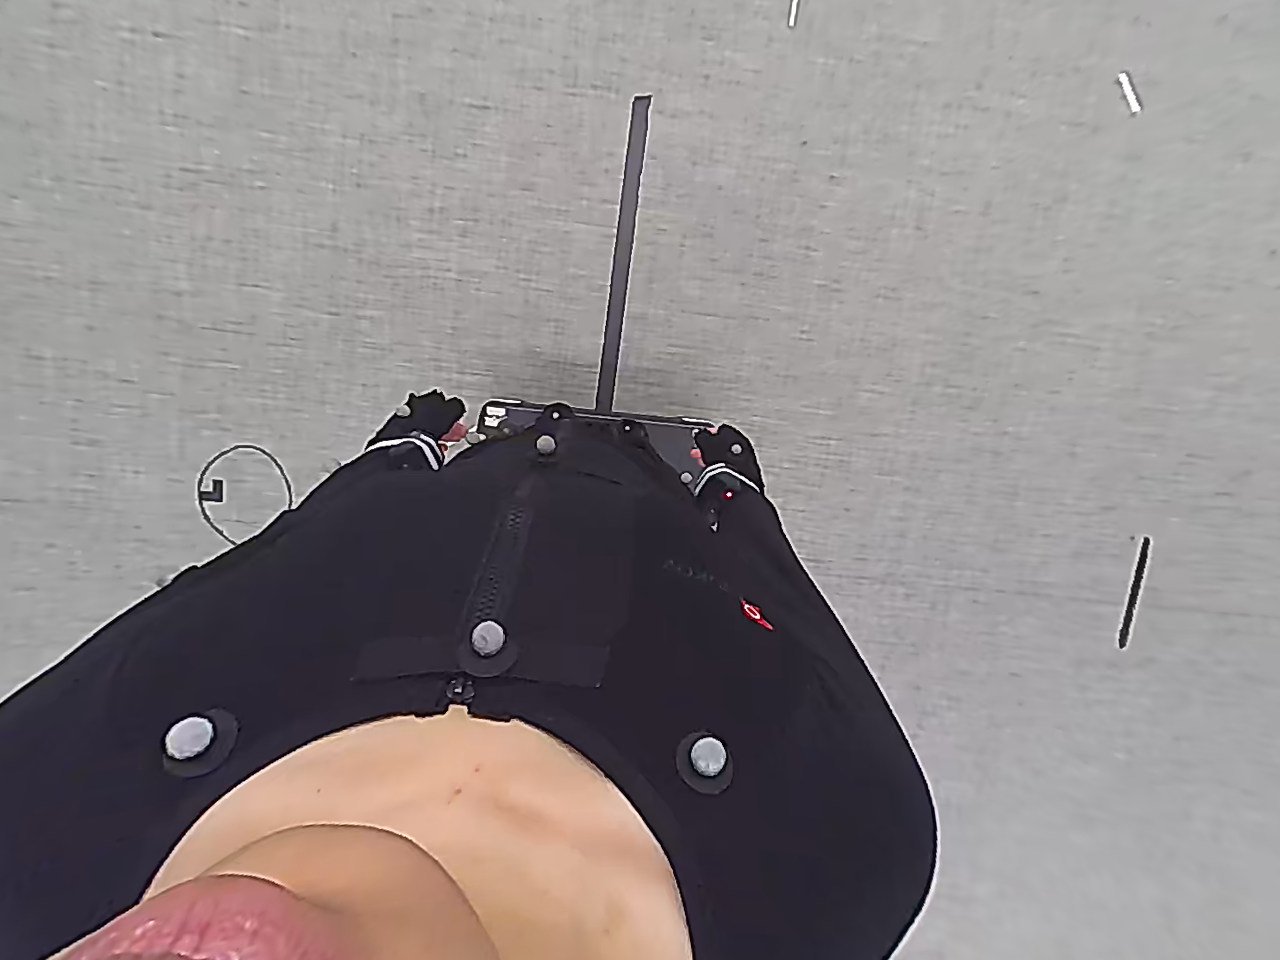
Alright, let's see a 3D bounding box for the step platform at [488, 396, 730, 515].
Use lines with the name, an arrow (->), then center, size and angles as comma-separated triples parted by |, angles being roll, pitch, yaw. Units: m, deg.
step platform -> -0.087, -0.071, 1.564 | 0.684, 0.204, 0.286 | 5, 99, -5
